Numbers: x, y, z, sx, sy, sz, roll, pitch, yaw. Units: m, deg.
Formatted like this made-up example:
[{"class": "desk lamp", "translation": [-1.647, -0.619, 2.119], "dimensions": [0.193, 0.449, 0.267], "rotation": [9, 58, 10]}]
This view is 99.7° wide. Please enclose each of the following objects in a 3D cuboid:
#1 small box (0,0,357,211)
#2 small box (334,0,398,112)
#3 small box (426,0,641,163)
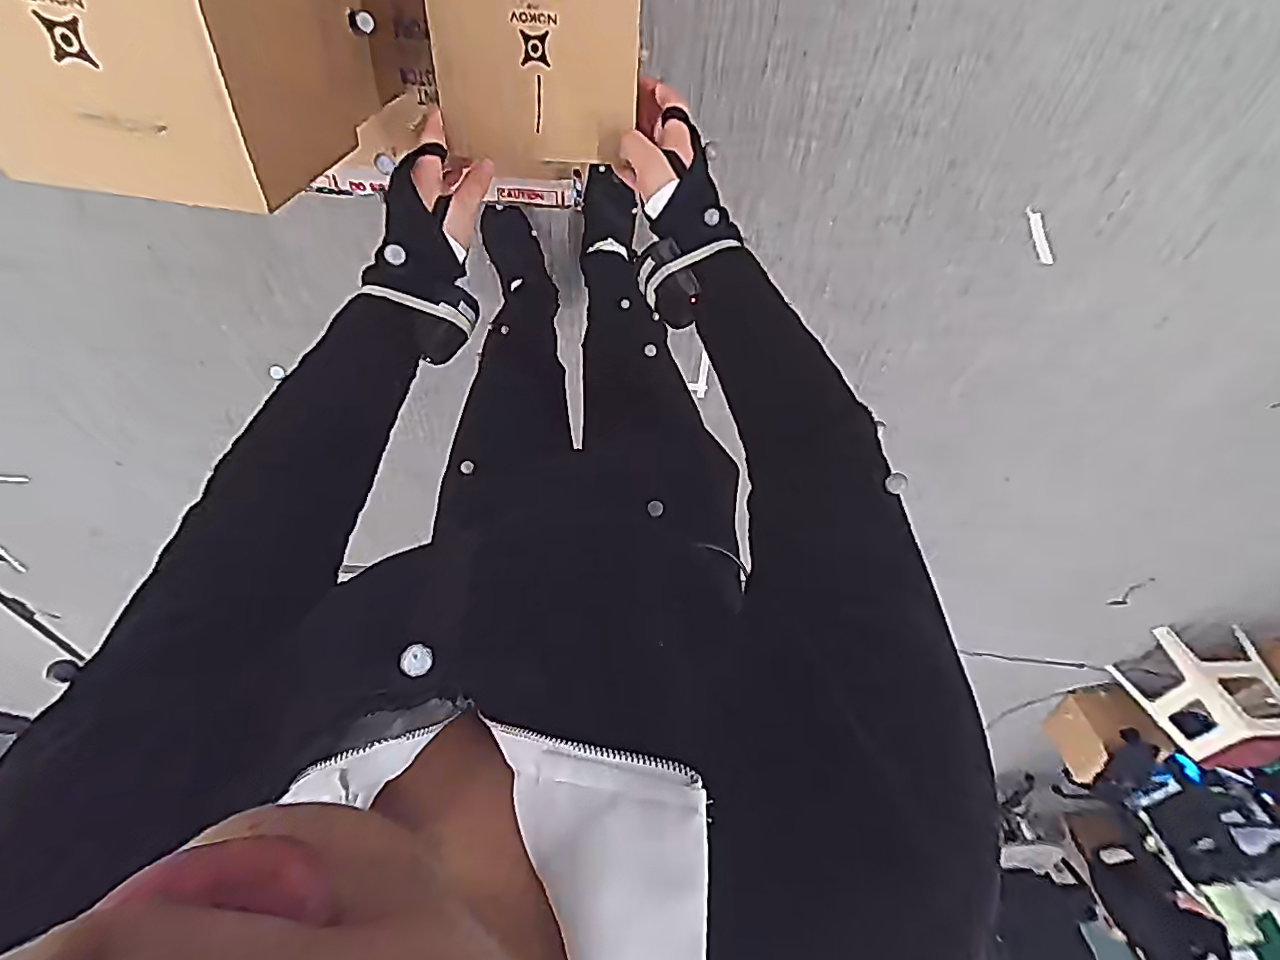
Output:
[{"class": "small box", "translation": [-0.314, -0.305, 0.351], "dimensions": [0.168, 0.176, 0.179], "rotation": [6, 136, -5]}, {"class": "small box", "translation": [-0.324, -0.427, 0.460], "dimensions": [0.168, 0.176, 0.179], "rotation": [6, 135, -6]}, {"class": "small box", "translation": [-0.089, -0.400, 0.485], "dimensions": [0.168, 0.176, 0.179], "rotation": [0, 128, -5]}]
